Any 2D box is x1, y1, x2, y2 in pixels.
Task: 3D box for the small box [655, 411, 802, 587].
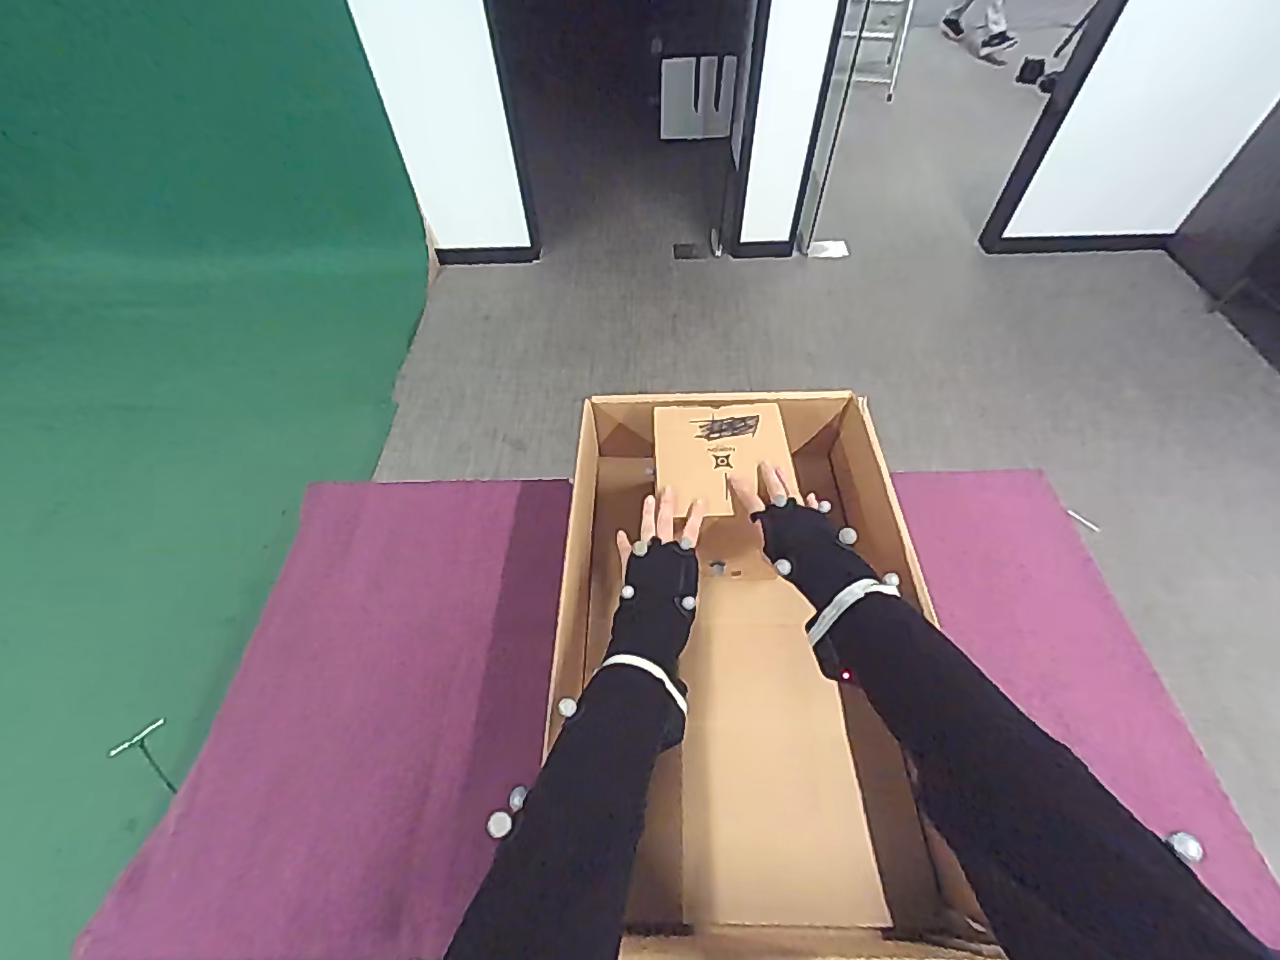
[{"bbox_3d":[0.104,0.028,0.726,0.168,0.176,0.179,-2,54,1],"label":"small box"}]
